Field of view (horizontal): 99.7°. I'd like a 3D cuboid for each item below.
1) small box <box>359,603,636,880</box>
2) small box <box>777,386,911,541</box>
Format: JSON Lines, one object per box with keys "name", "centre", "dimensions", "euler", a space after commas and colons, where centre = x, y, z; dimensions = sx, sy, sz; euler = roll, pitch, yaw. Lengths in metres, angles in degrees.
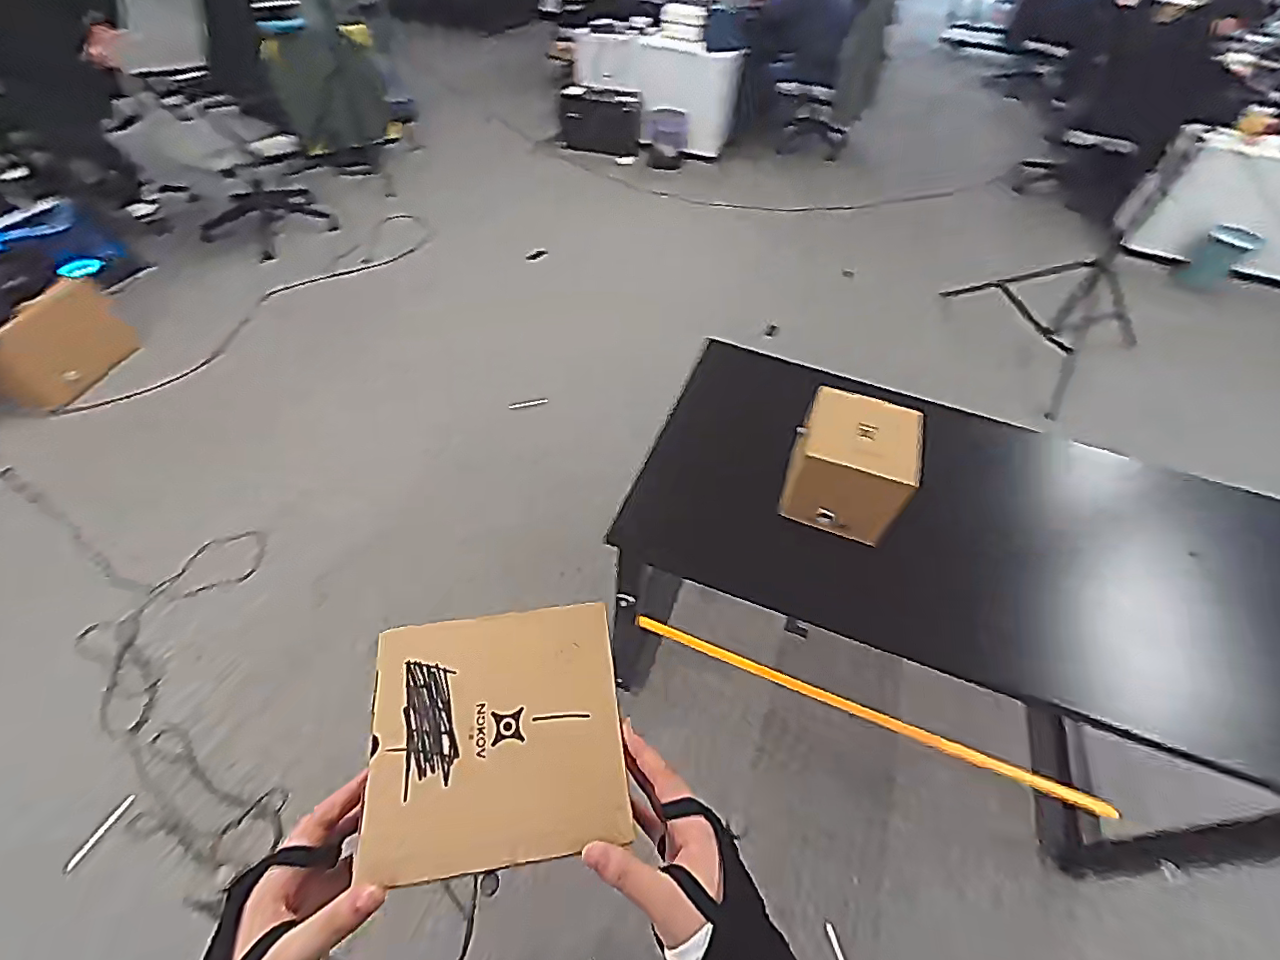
{"name": "small box", "centre": [-0.100, 0.219, 0.449], "dimensions": [0.179, 0.176, 0.168], "euler": [-5, 56, -6]}
{"name": "small box", "centre": [0.343, -0.026, 0.926], "dimensions": [0.168, 0.176, 0.179], "euler": [16, 52, 11]}
